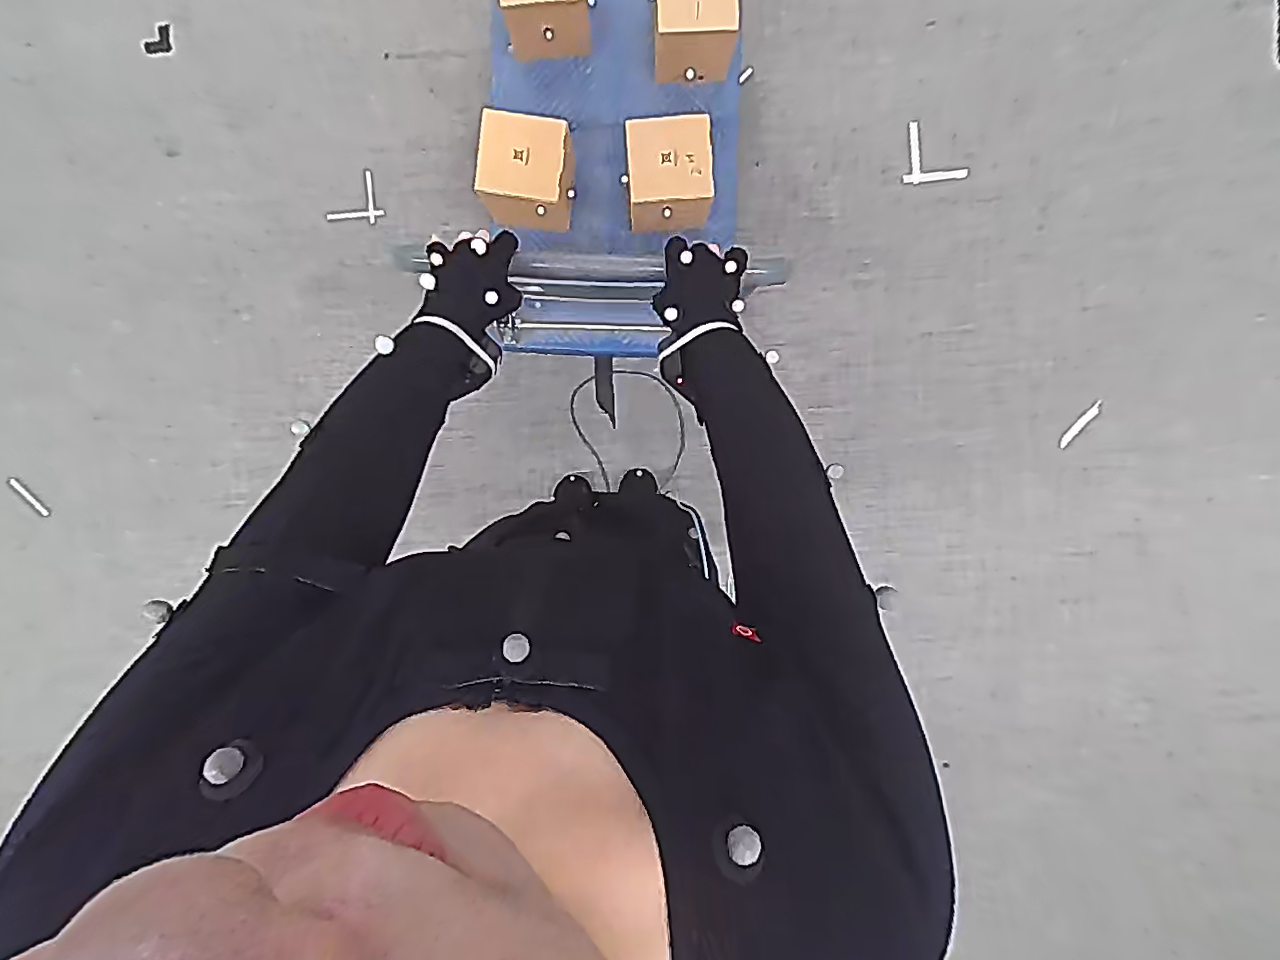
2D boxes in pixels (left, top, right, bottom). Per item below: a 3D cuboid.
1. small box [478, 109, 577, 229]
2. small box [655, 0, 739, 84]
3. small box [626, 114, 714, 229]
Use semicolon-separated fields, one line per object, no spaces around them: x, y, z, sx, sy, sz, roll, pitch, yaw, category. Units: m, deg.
-0.242;-0.675;1.194;0.179;0.176;0.168;7;94;-2;small box
0.118;-1.003;1.170;0.168;0.176;0.179;-2;95;0;small box
0.064;-0.670;1.195;0.179;0.176;0.168;-4;95;0;small box
